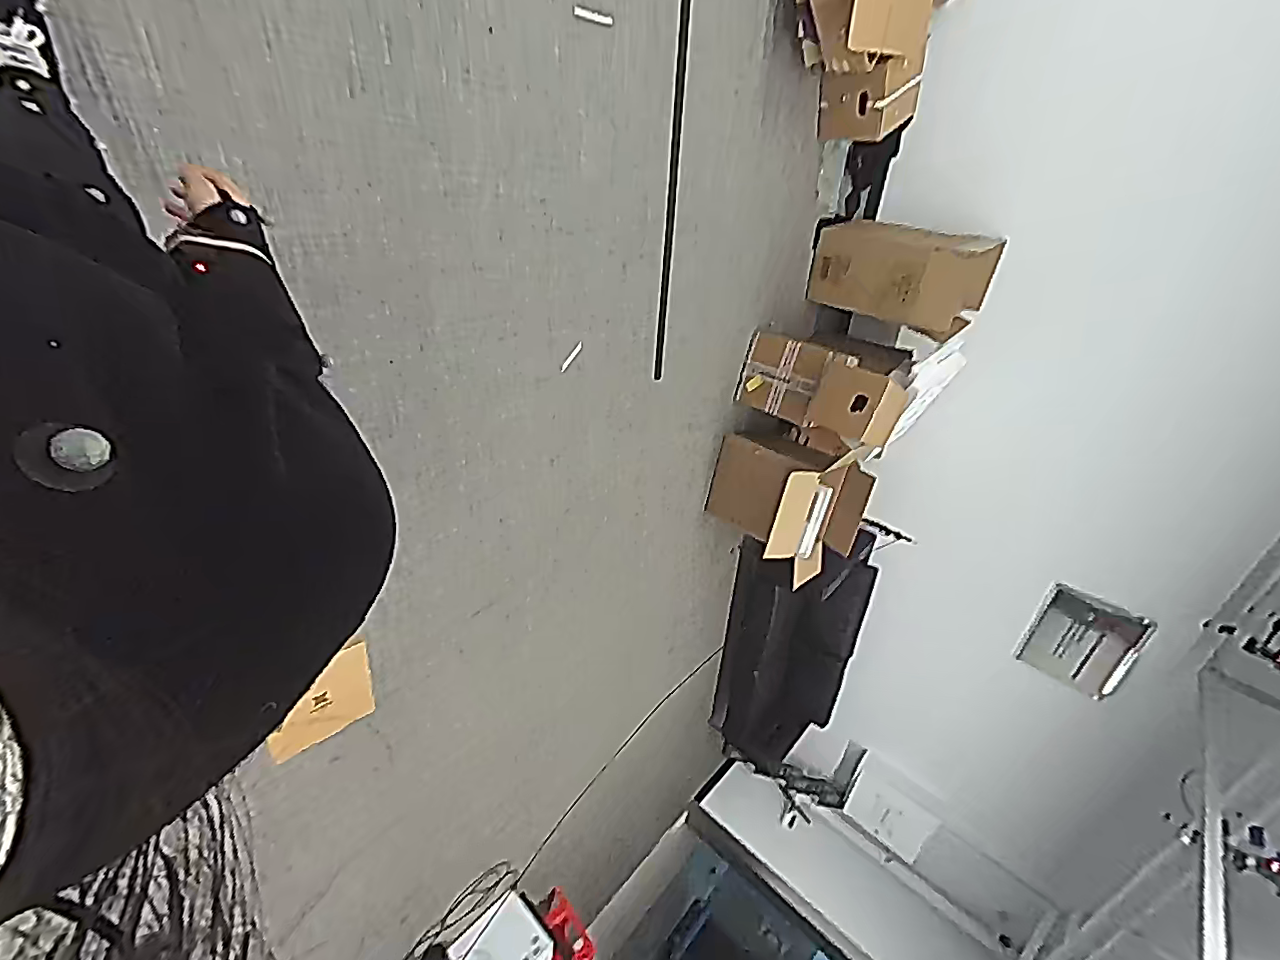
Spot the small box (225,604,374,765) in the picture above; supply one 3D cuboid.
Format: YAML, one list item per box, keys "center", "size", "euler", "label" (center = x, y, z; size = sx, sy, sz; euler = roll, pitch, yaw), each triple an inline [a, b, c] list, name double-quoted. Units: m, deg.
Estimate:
- center: [-0.594, 0.341, 0.948]
  size: [0.168, 0.176, 0.179]
  euler: [-21, 128, -44]
  label: "small box"
